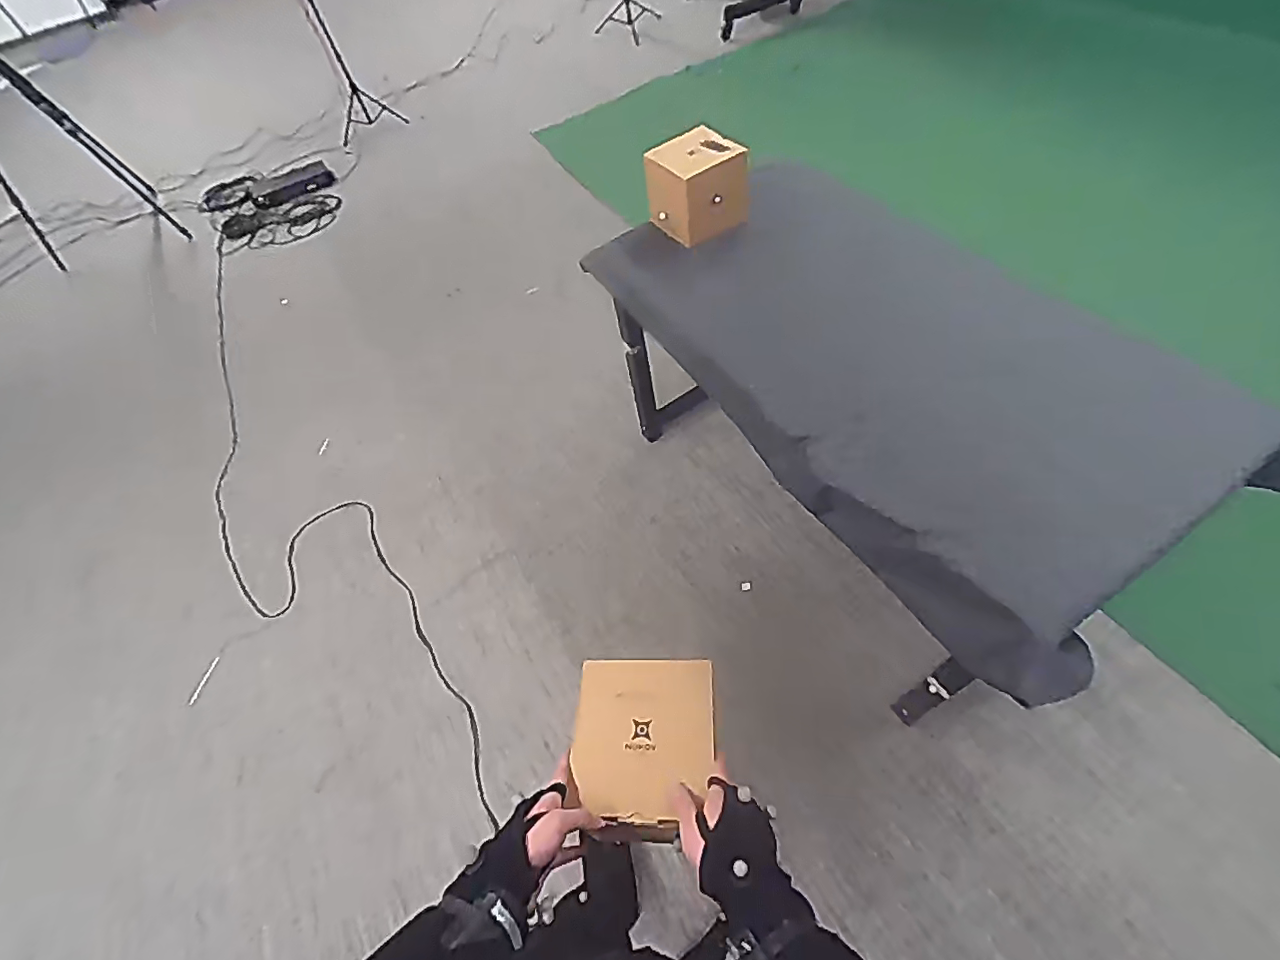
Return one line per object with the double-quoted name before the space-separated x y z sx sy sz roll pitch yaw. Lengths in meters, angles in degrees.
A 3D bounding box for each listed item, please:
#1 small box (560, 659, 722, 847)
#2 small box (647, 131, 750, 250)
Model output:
"small box" 0.013 0.337 0.667 0.168 0.176 0.179 -3 48 9
"small box" 0.137 -0.683 1.282 0.179 0.176 0.168 -32 58 -13
